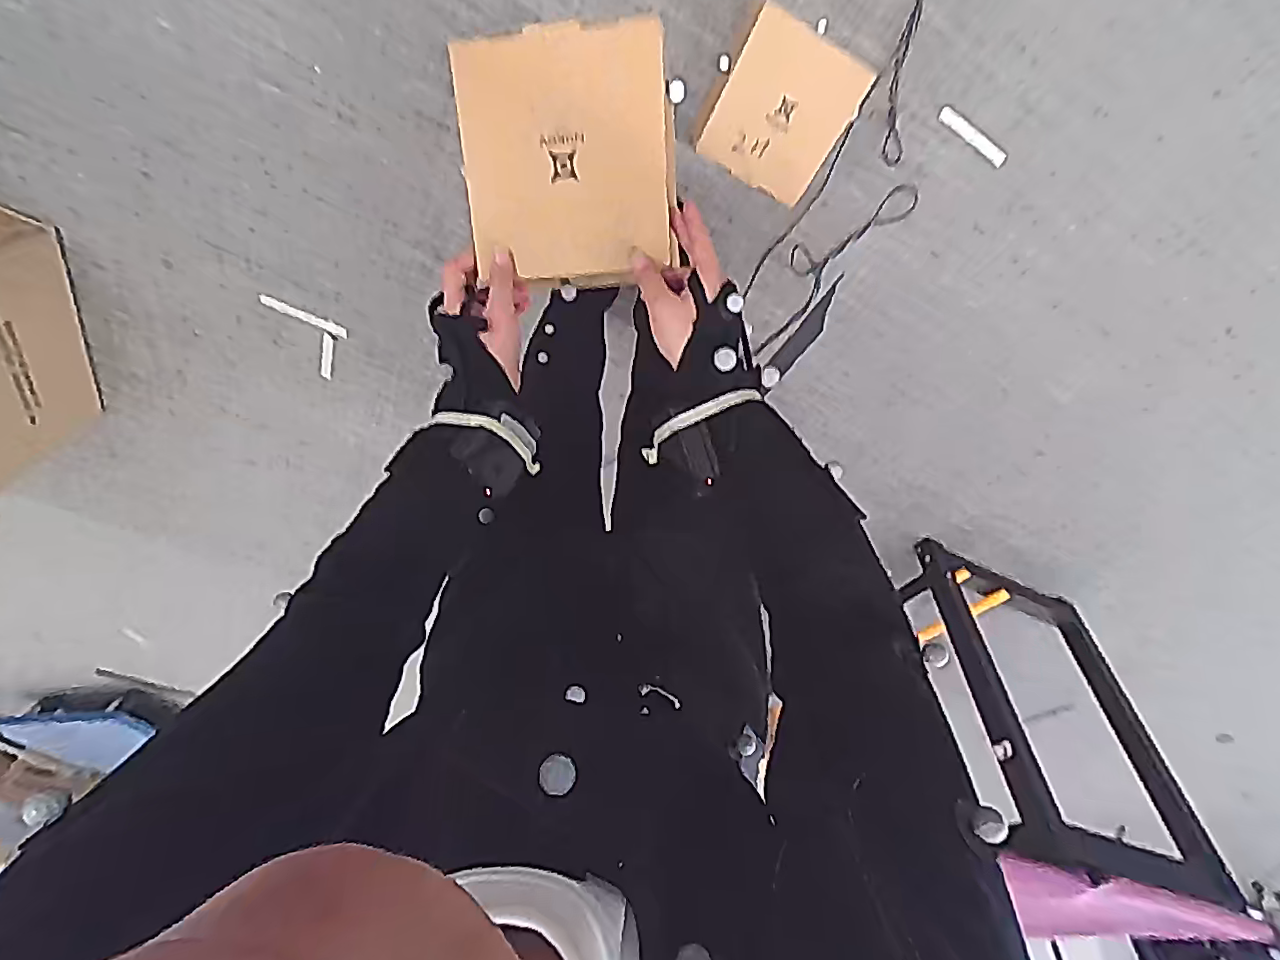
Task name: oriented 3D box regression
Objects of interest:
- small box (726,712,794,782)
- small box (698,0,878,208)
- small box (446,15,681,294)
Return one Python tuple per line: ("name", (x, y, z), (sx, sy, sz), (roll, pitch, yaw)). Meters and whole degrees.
("small box", (0.429, 0.968, 1.971), (0.179, 0.176, 0.168), (24, 130, -17))
("small box", (0.190, -0.526, 0.756), (0.168, 0.176, 0.179), (23, 131, -14))
("small box", (-0.051, -0.267, 0.491), (0.168, 0.176, 0.179), (-2, 105, 7))
